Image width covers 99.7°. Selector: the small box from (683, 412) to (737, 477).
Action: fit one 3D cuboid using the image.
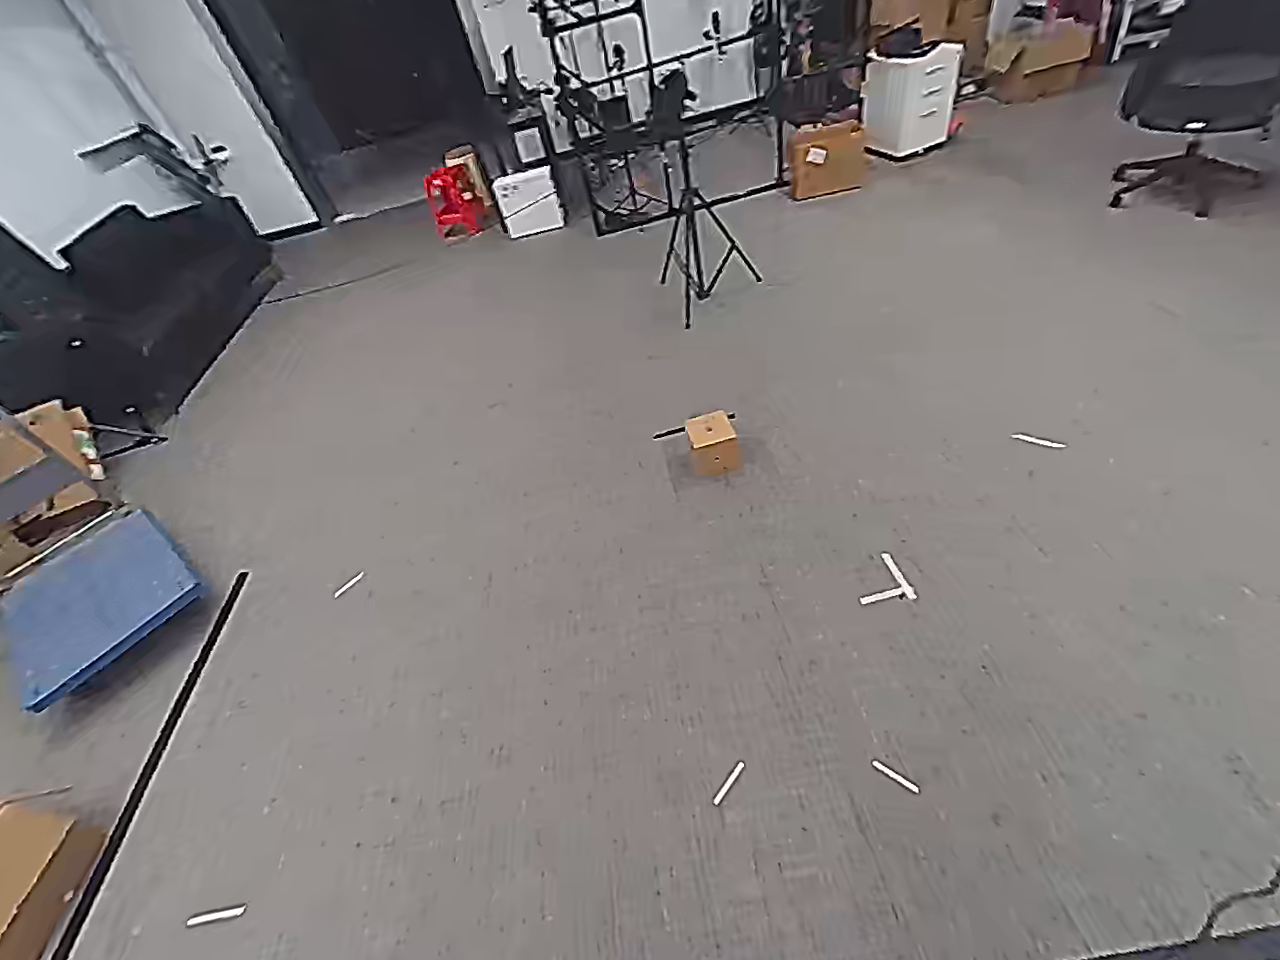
[{"bbox_3d":[0.278,-0.132,2.124,0.168,0.176,0.179,-15,43,1],"label":"small box"}]
